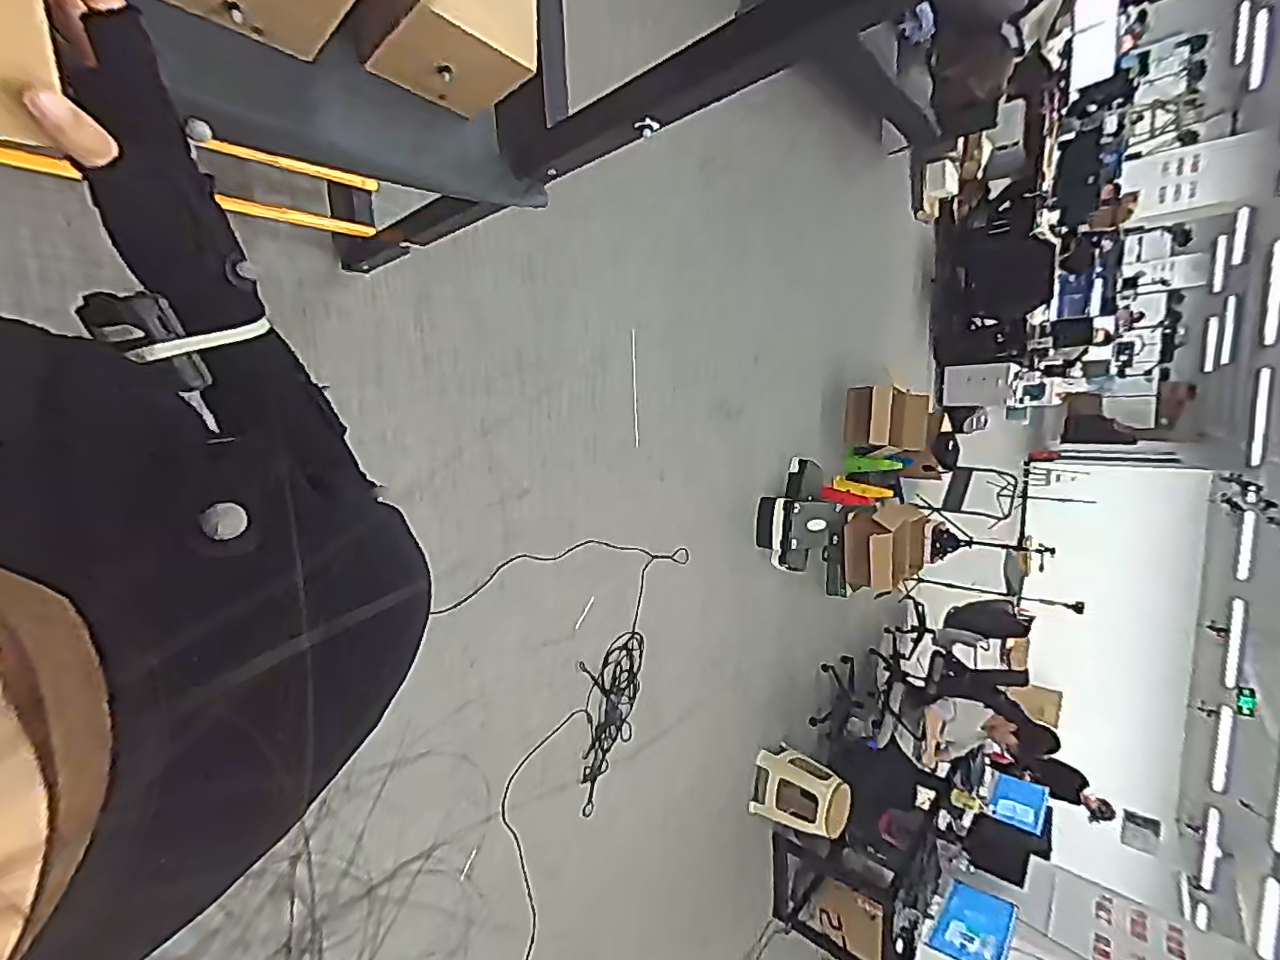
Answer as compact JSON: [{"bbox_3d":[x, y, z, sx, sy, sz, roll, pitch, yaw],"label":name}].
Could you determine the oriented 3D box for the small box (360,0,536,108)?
[{"bbox_3d":[-0.255,-0.642,0.718,0.168,0.176,0.179,-5,97,-48],"label":"small box"}]
